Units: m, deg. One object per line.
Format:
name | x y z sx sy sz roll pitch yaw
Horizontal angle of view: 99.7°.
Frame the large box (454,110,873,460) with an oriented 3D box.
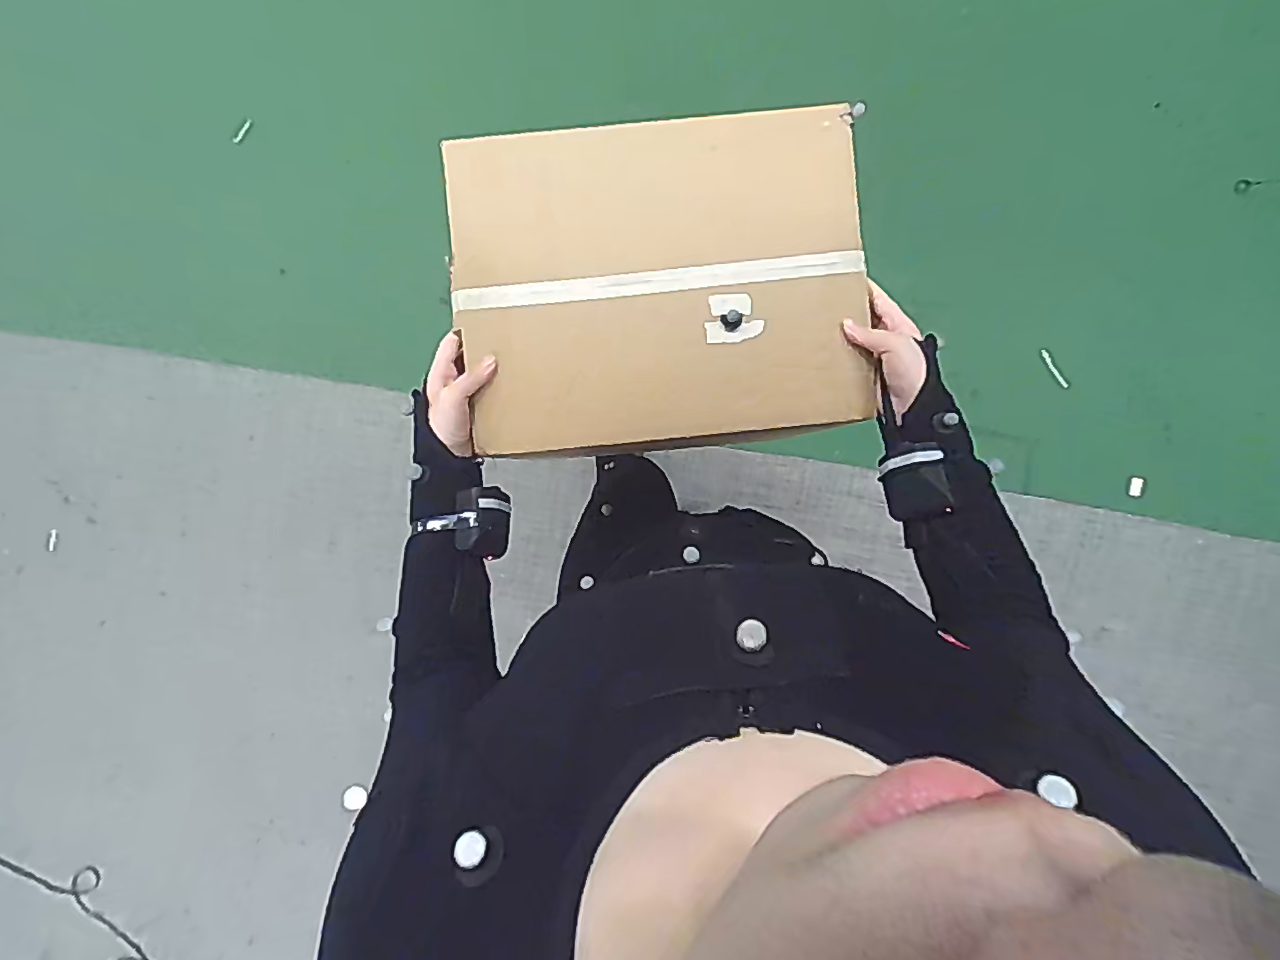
large box | 0.021 -0.204 0.692 0.408 0.320 0.320 -5 91 -1
